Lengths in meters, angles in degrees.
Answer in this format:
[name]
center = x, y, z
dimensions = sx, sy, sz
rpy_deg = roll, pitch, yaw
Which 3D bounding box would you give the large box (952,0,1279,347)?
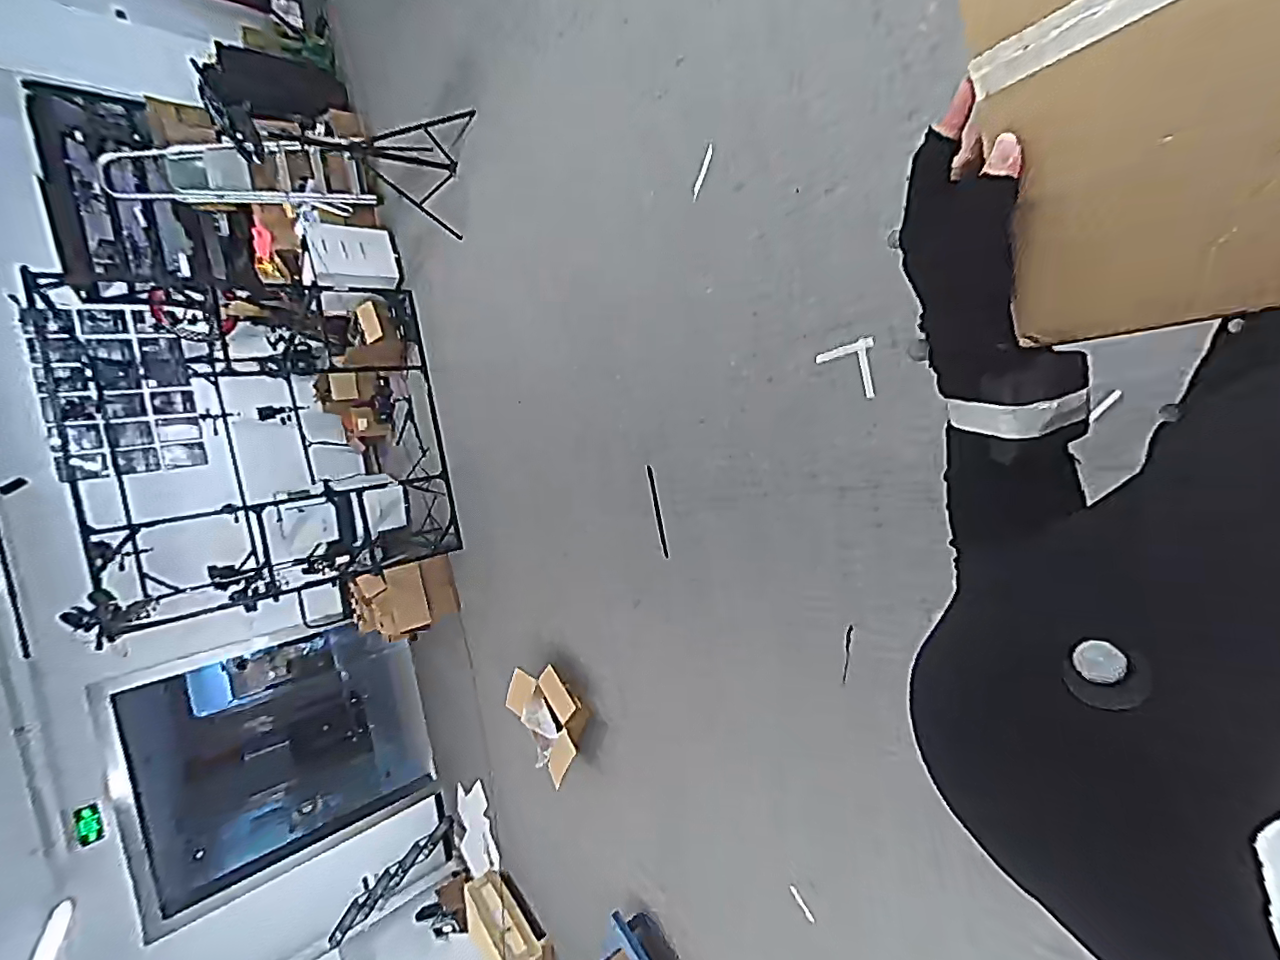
[large box]
center = 0.421, -0.290, 0.241
dimensions = 0.408, 0.320, 0.320
rpy_deg = -1, 111, 53
